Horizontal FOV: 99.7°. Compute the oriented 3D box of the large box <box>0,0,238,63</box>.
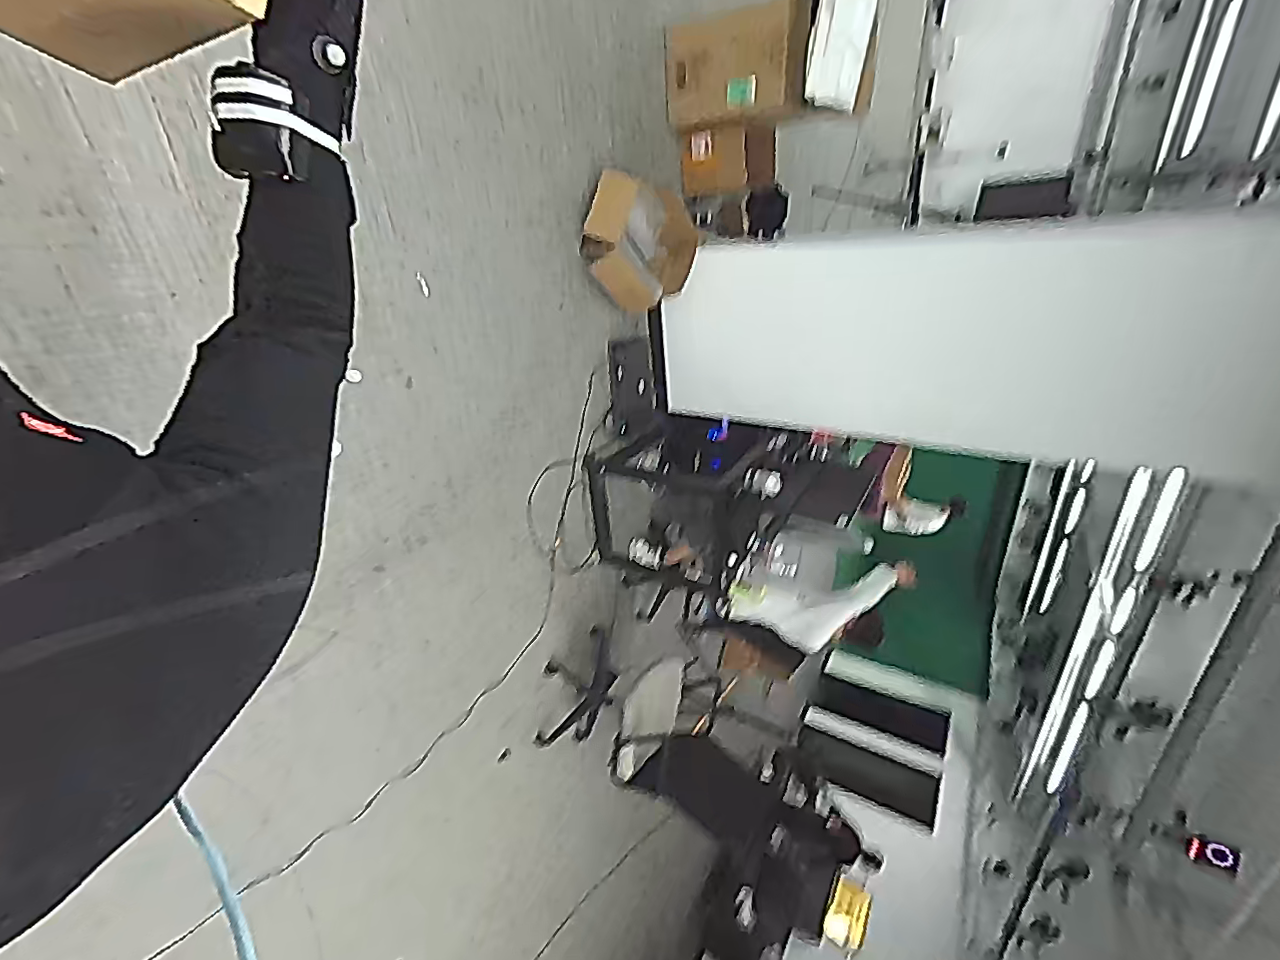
[{"bbox_3d":[-0.462,-0.501,0.251,0.408,0.320,0.320,0,105,-59],"label":"large box"}]
